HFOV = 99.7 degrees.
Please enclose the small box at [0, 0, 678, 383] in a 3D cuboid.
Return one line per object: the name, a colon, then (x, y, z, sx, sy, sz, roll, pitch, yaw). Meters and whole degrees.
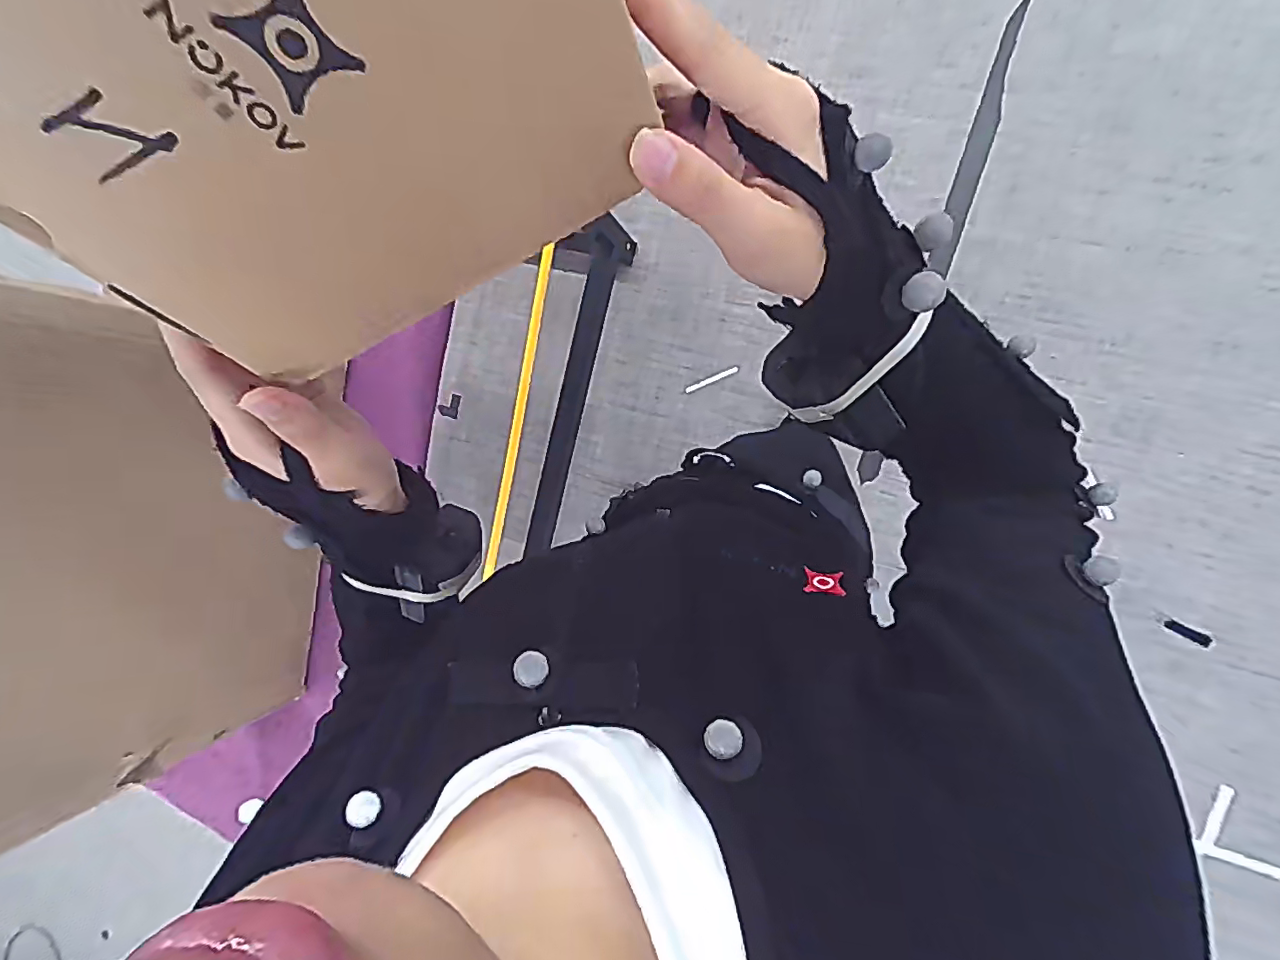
small box: (-0.112, -0.173, 0.179, 0.179, 0.168, 0.176, -25, 59, 9)
